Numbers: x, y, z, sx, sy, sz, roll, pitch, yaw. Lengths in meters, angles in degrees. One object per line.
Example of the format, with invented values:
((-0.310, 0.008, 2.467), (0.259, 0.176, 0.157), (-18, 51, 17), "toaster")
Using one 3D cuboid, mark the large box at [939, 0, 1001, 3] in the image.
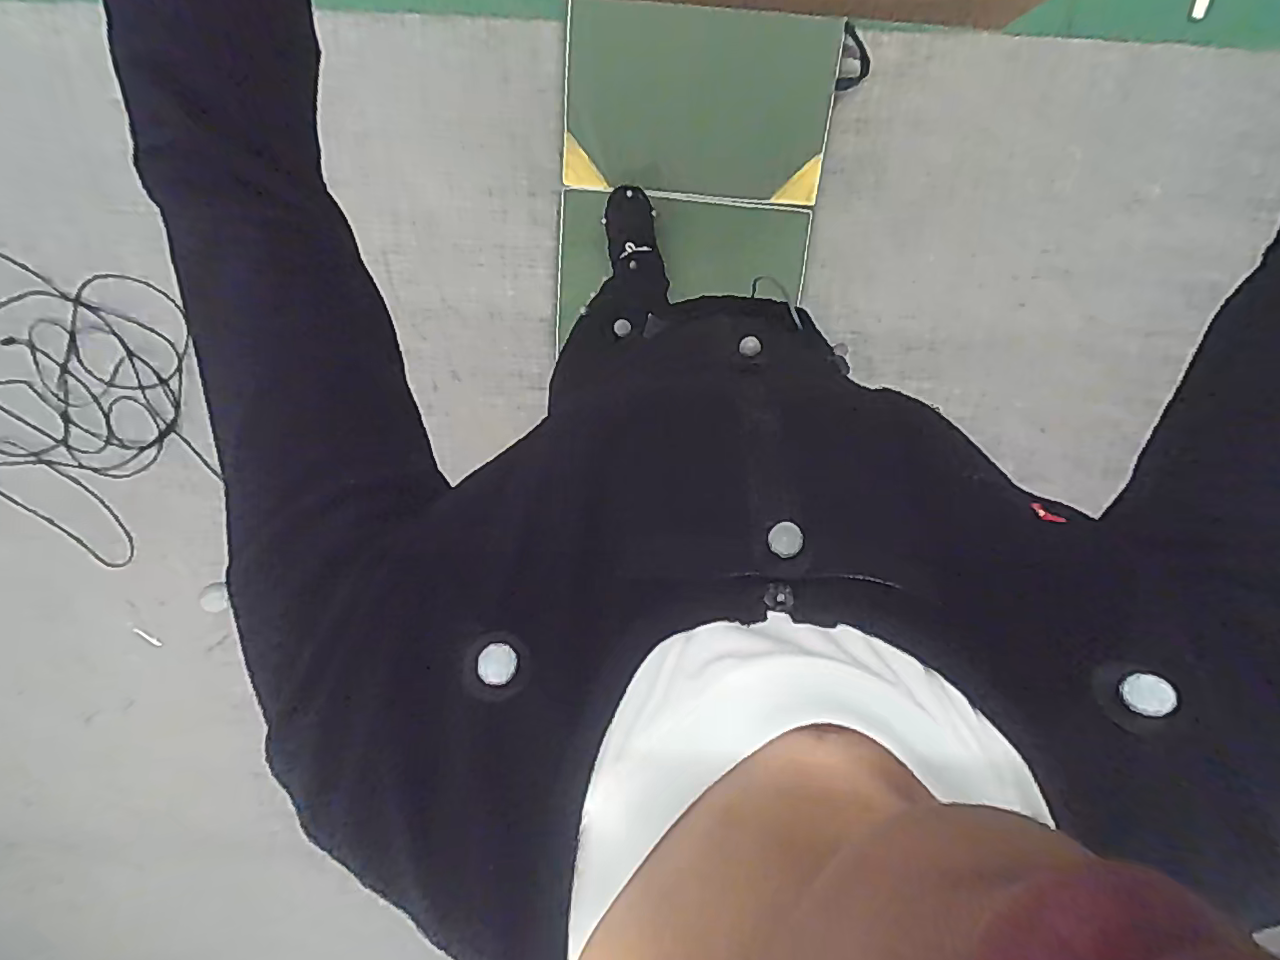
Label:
((0.115, -0.493, 0.262), (0.408, 0.320, 0.320), (3, 114, -1), "large box")
